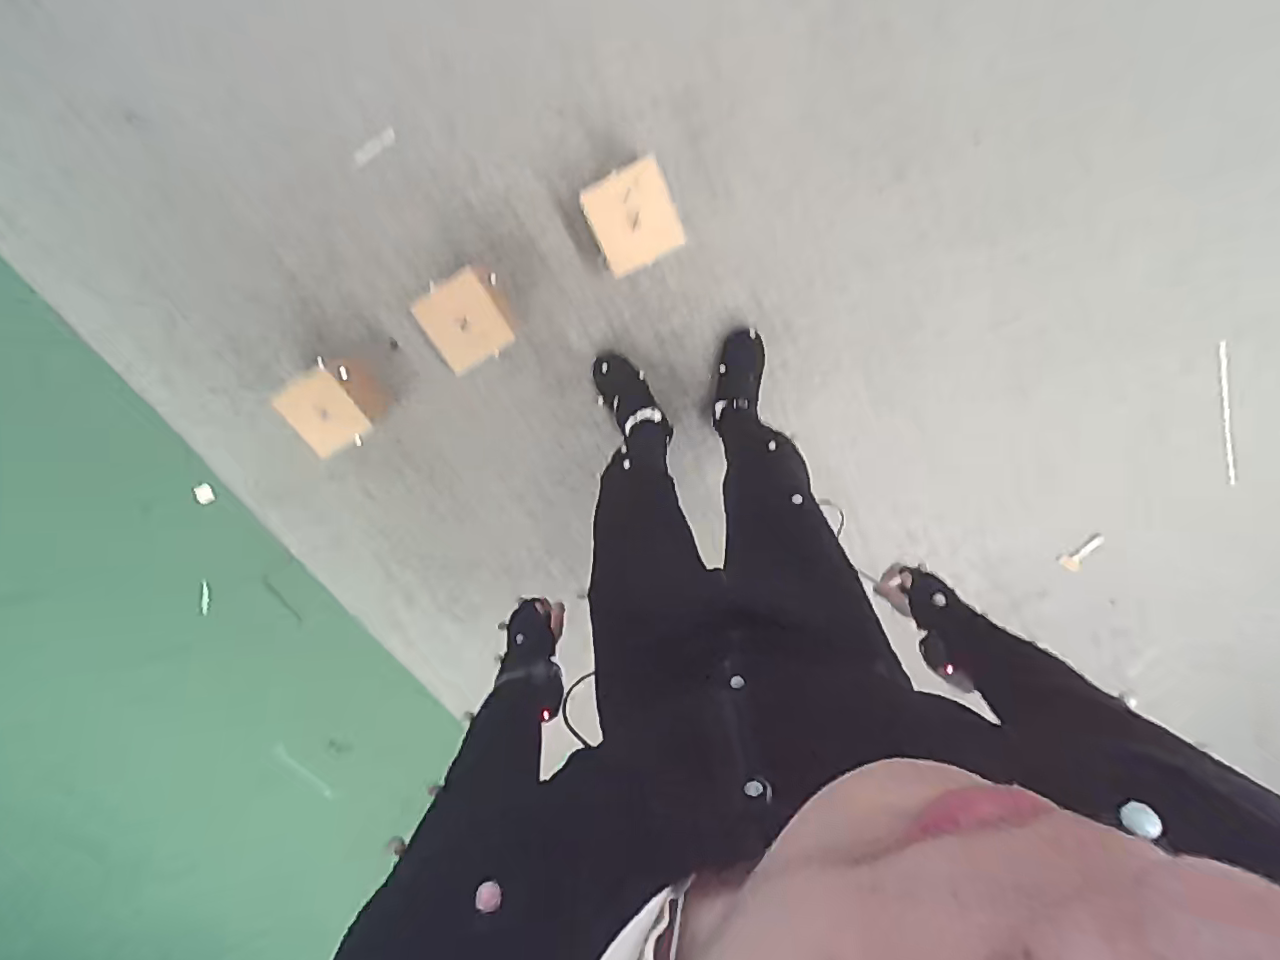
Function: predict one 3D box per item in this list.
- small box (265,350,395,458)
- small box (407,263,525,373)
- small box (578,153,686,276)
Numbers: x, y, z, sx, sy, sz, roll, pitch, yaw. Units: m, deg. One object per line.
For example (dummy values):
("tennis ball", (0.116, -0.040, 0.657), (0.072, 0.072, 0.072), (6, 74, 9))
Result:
("small box", (-0.729, -0.187, 1.295), (0.168, 0.176, 0.179), (-28, 112, 11))
("small box", (-0.382, -0.371, 1.222), (0.168, 0.176, 0.179), (-28, 113, 11))
("small box", (-0.015, -0.559, 1.145), (0.168, 0.176, 0.179), (-24, 114, 8))
